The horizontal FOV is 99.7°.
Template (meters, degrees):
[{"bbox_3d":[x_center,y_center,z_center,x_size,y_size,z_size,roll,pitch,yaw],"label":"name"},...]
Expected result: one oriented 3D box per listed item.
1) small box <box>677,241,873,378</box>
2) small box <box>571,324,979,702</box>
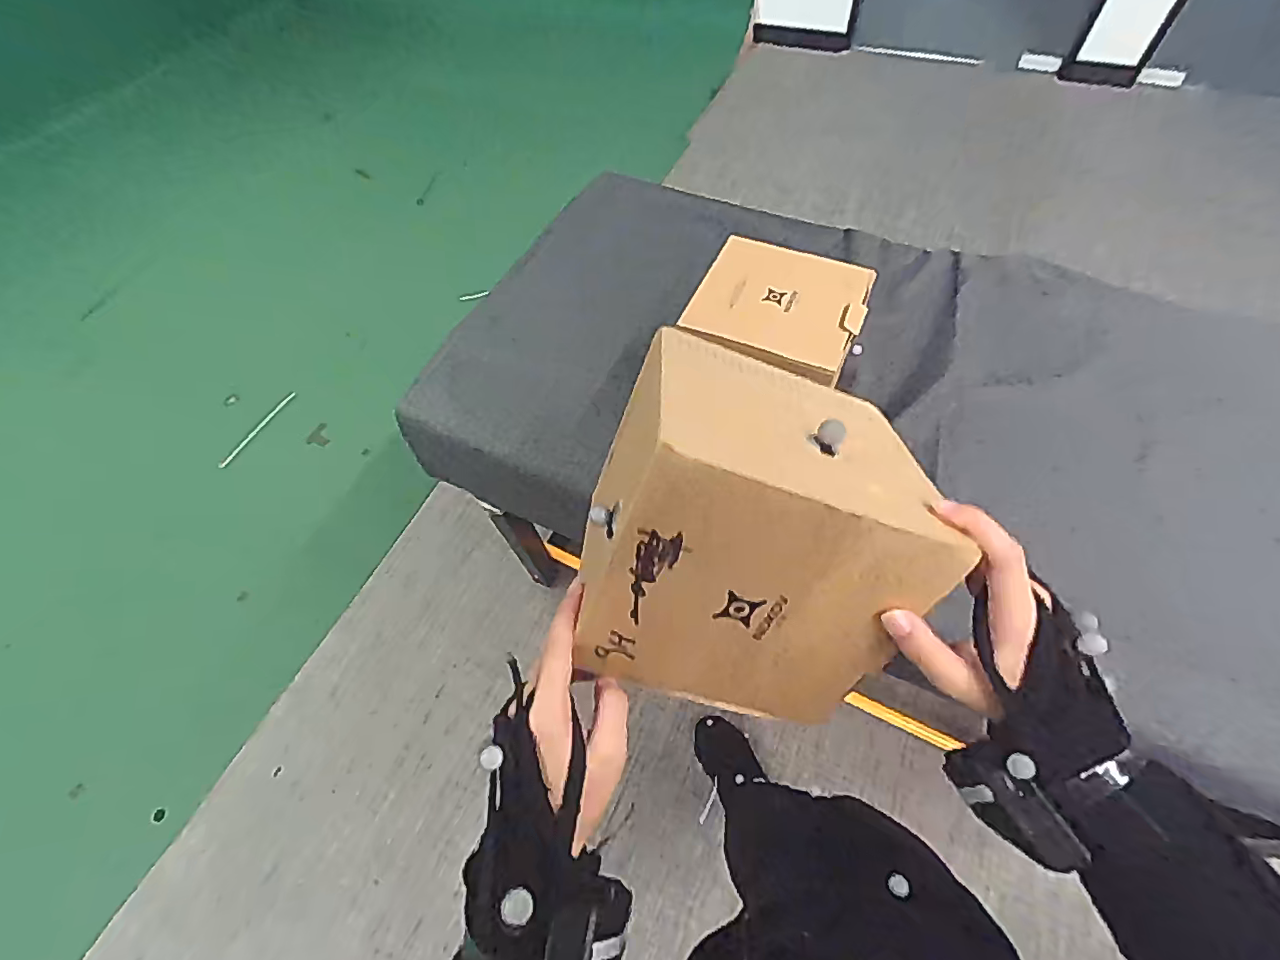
[{"bbox_3d":[0.155,-0.154,0.662,0.179,0.176,0.168,21,62,16],"label":"small box"},{"bbox_3d":[0.068,0.015,0.367,0.179,0.168,0.176,18,32,-10],"label":"small box"}]
